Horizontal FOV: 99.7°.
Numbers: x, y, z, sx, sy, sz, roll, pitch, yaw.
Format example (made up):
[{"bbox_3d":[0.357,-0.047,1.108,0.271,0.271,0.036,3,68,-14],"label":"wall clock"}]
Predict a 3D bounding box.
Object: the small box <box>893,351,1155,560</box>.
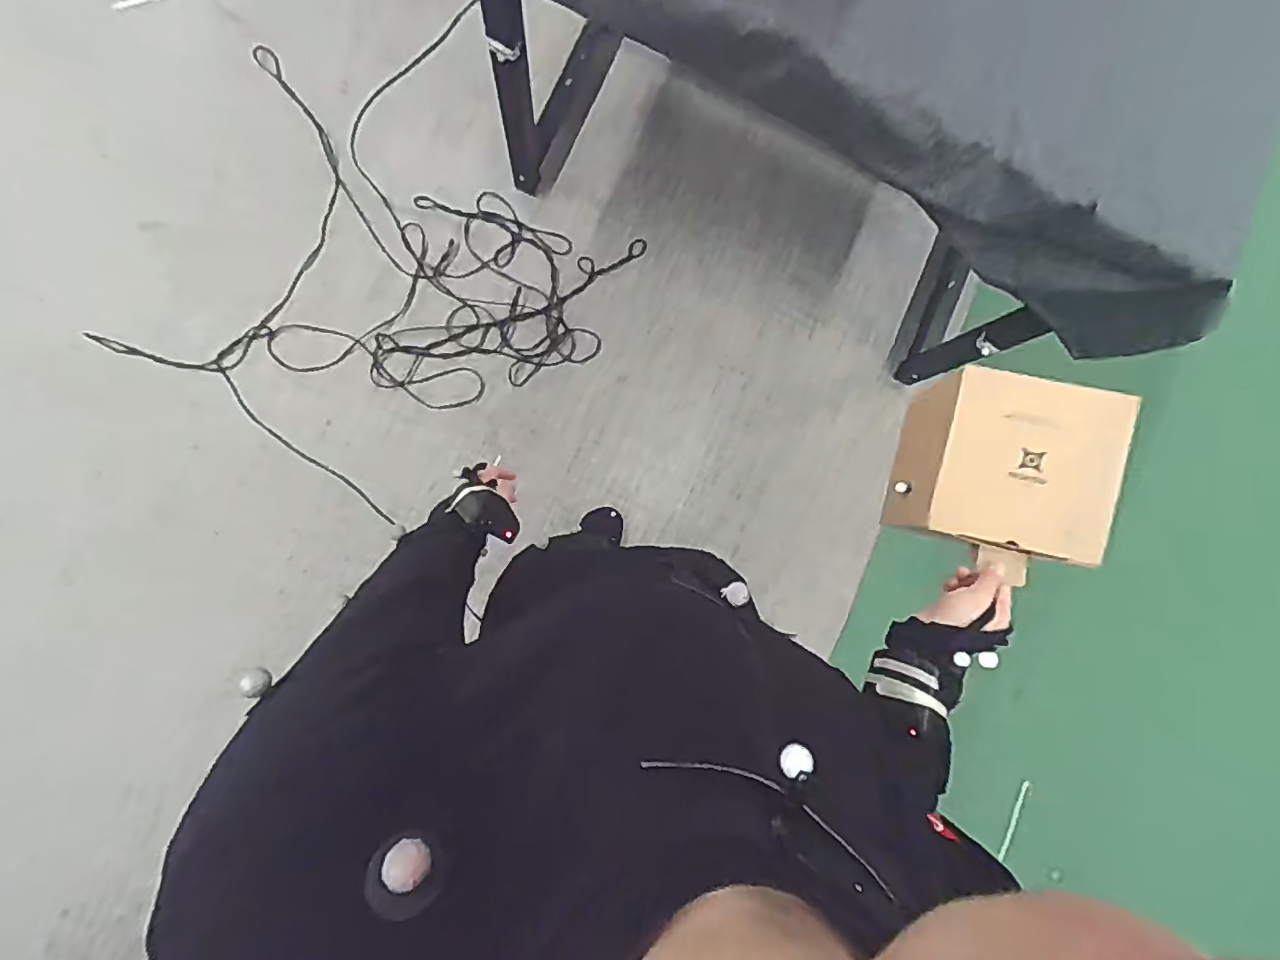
[{"bbox_3d":[0.401,-0.023,0.601,0.168,0.176,0.179,13,89,9],"label":"small box"}]
